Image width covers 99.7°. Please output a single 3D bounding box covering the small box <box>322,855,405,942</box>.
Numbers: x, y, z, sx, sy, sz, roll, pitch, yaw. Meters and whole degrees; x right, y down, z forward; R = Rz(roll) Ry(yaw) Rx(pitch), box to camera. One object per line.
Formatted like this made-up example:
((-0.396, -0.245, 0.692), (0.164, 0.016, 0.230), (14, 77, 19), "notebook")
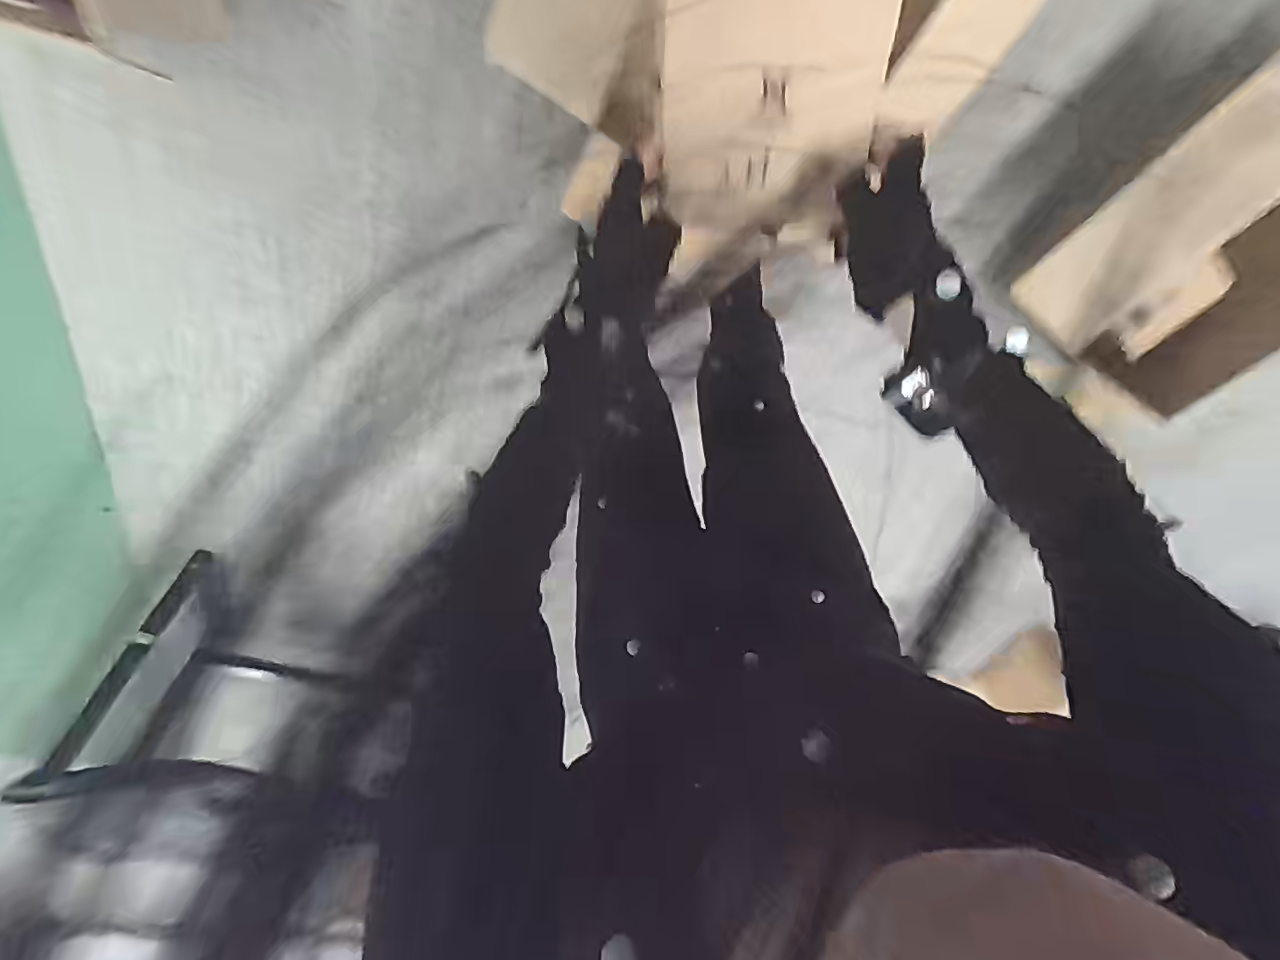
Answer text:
((-0.803, 1.222, 1.577), (0.168, 0.176, 0.179), (18, 130, -16), "small box")
